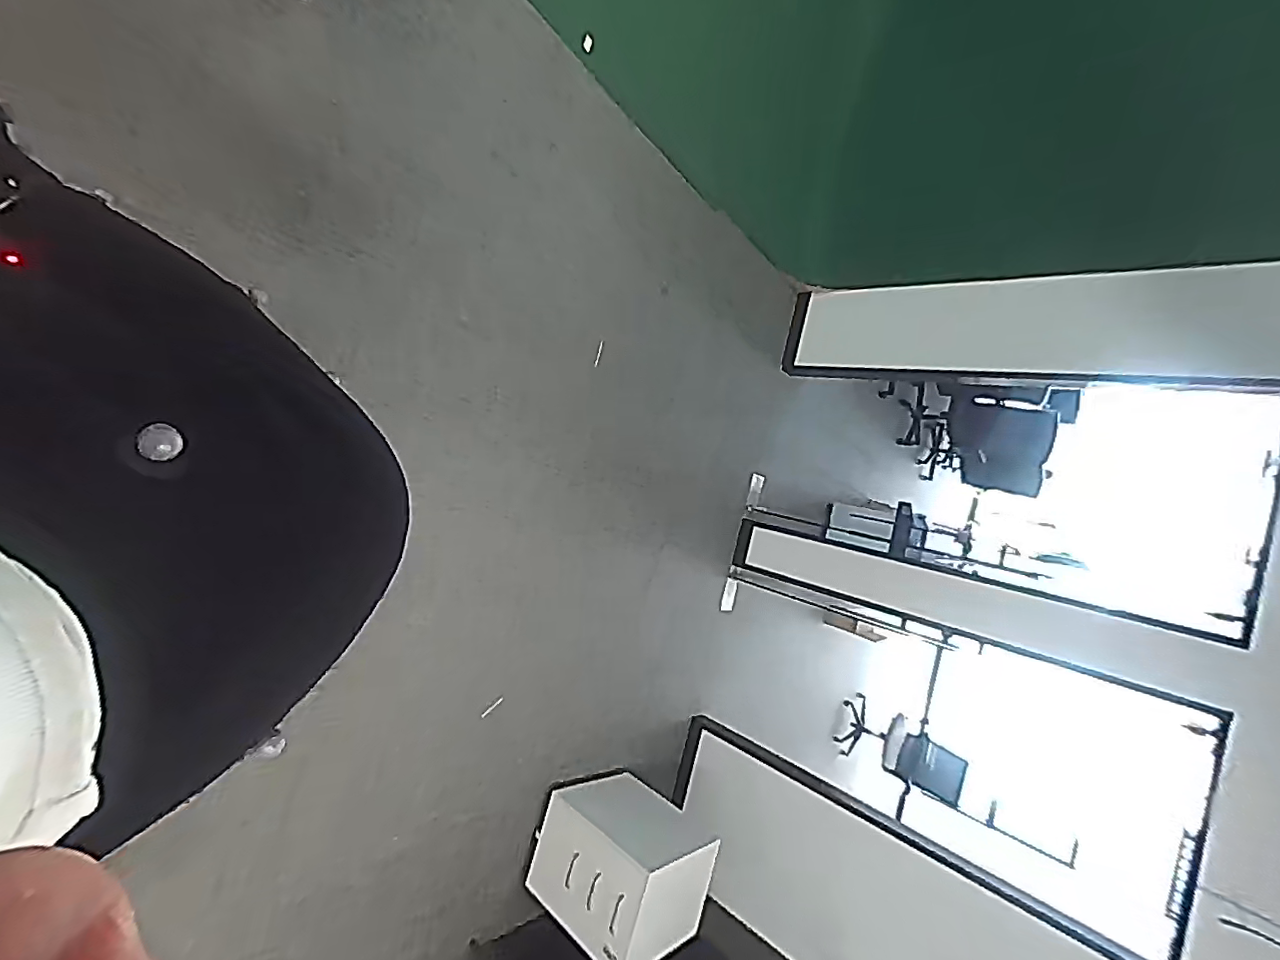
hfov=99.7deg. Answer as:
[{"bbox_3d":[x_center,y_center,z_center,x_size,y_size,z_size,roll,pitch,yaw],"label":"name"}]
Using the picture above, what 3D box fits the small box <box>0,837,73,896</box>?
[{"bbox_3d":[-1.288,0.863,1.081,0.179,0.176,0.168,19,86,-50],"label":"small box"}]
